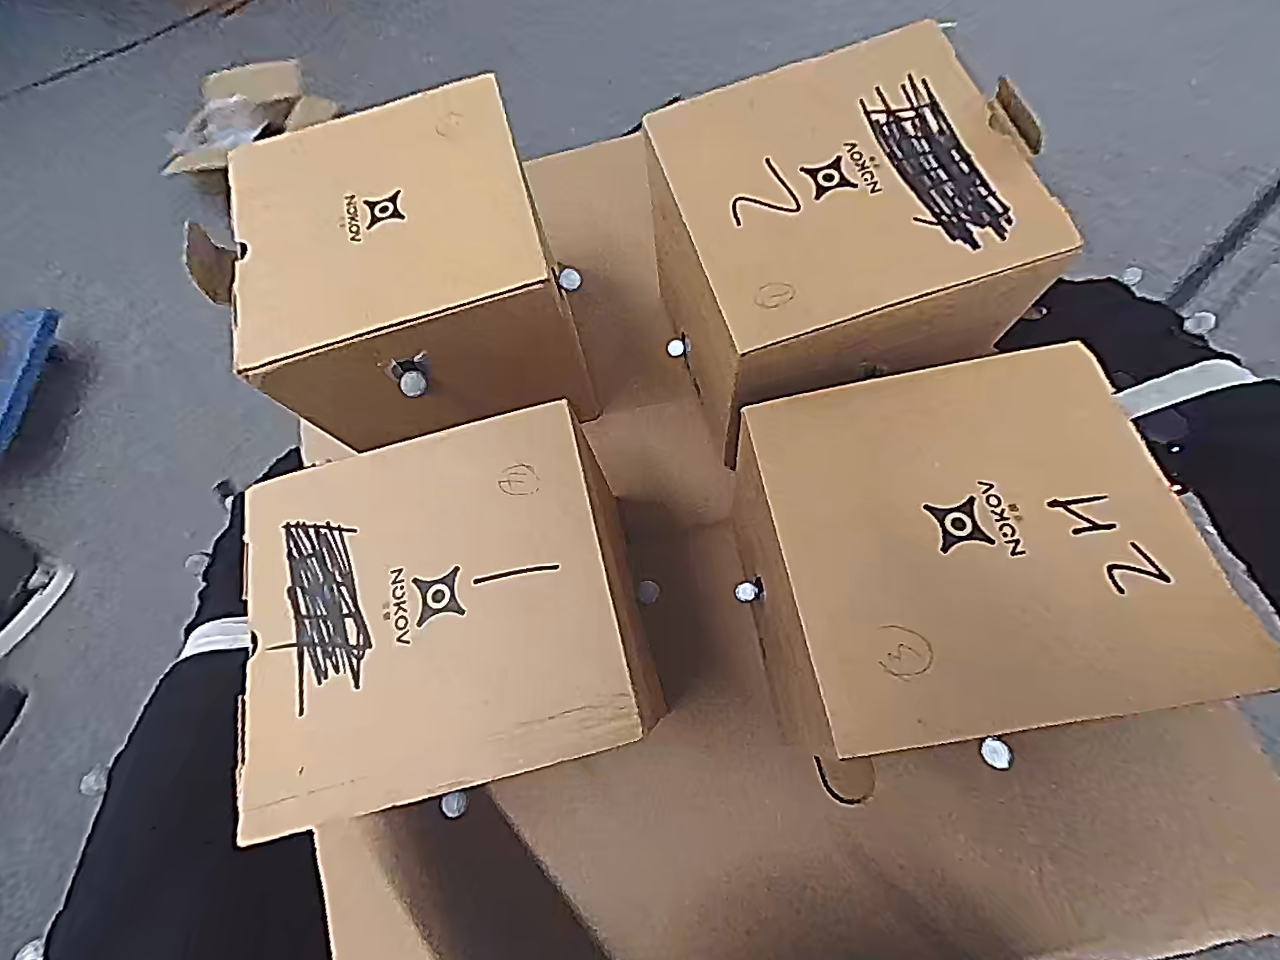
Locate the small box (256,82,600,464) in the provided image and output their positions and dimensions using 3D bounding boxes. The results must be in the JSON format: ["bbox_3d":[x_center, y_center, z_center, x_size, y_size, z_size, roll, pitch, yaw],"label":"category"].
[{"bbox_3d":[-0.134,-0.131,0.396,0.179,0.176,0.168,-17,70,2],"label":"small box"}]
